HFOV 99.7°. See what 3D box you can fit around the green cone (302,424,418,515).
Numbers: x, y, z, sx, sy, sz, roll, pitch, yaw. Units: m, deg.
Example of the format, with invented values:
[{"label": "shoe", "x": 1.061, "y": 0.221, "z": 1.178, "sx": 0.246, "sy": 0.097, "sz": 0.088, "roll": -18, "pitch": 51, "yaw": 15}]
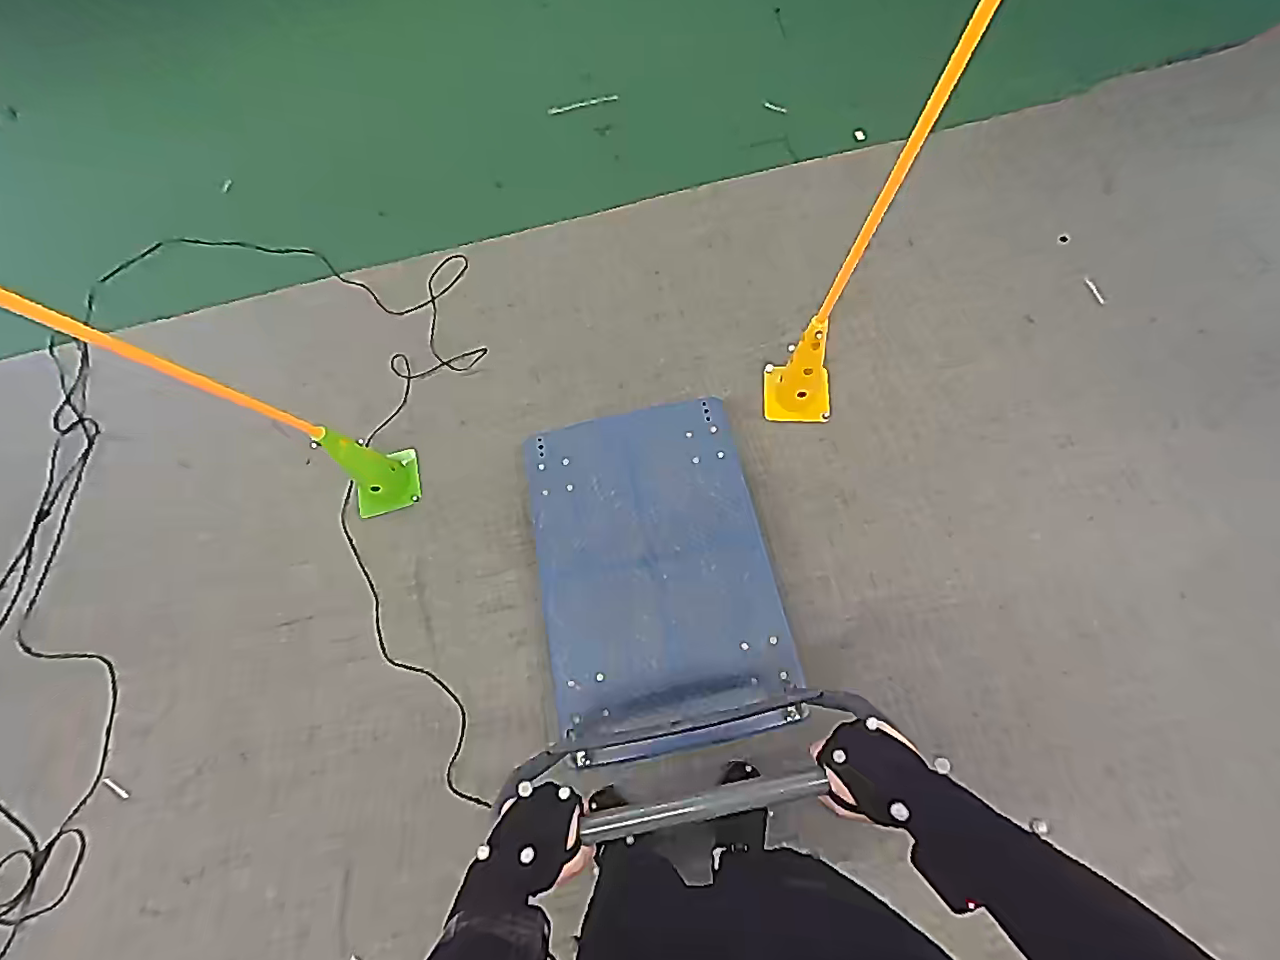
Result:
[{"label": "green cone", "x": -0.829, "y": -0.067, "z": 1.559, "sx": 0.202, "sy": 0.368, "sz": 0.200, "roll": -18, "pitch": 67, "yaw": 0}]
